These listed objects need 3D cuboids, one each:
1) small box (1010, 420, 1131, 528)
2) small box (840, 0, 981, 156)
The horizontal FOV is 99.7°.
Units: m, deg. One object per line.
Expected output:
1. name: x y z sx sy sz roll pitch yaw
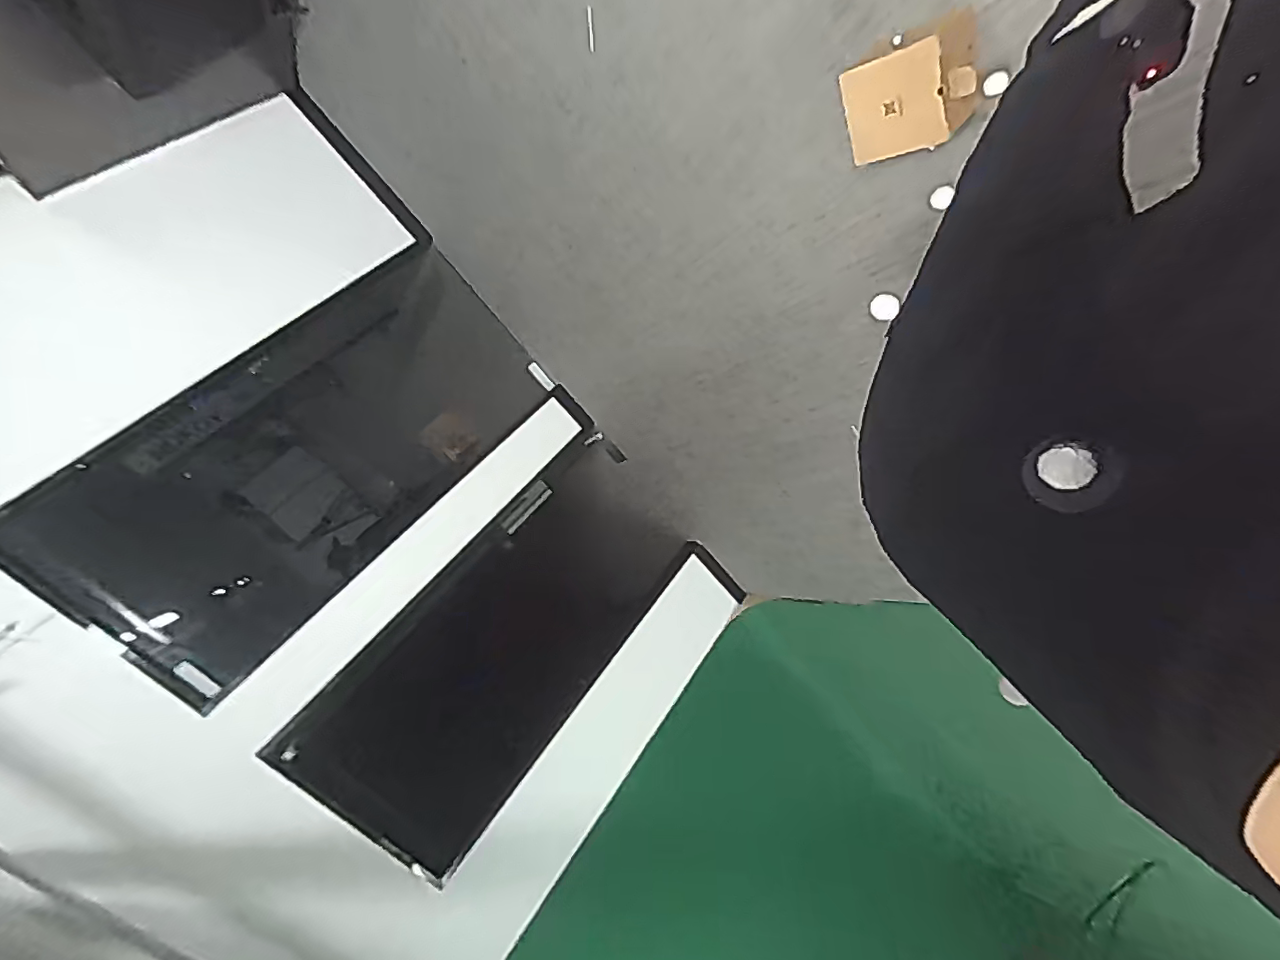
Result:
1. small box: 1.082 -0.019 1.359 0.168 0.176 0.179 31 154 24
2. small box: 0.507 -0.744 1.009 0.179 0.176 0.168 12 142 46
